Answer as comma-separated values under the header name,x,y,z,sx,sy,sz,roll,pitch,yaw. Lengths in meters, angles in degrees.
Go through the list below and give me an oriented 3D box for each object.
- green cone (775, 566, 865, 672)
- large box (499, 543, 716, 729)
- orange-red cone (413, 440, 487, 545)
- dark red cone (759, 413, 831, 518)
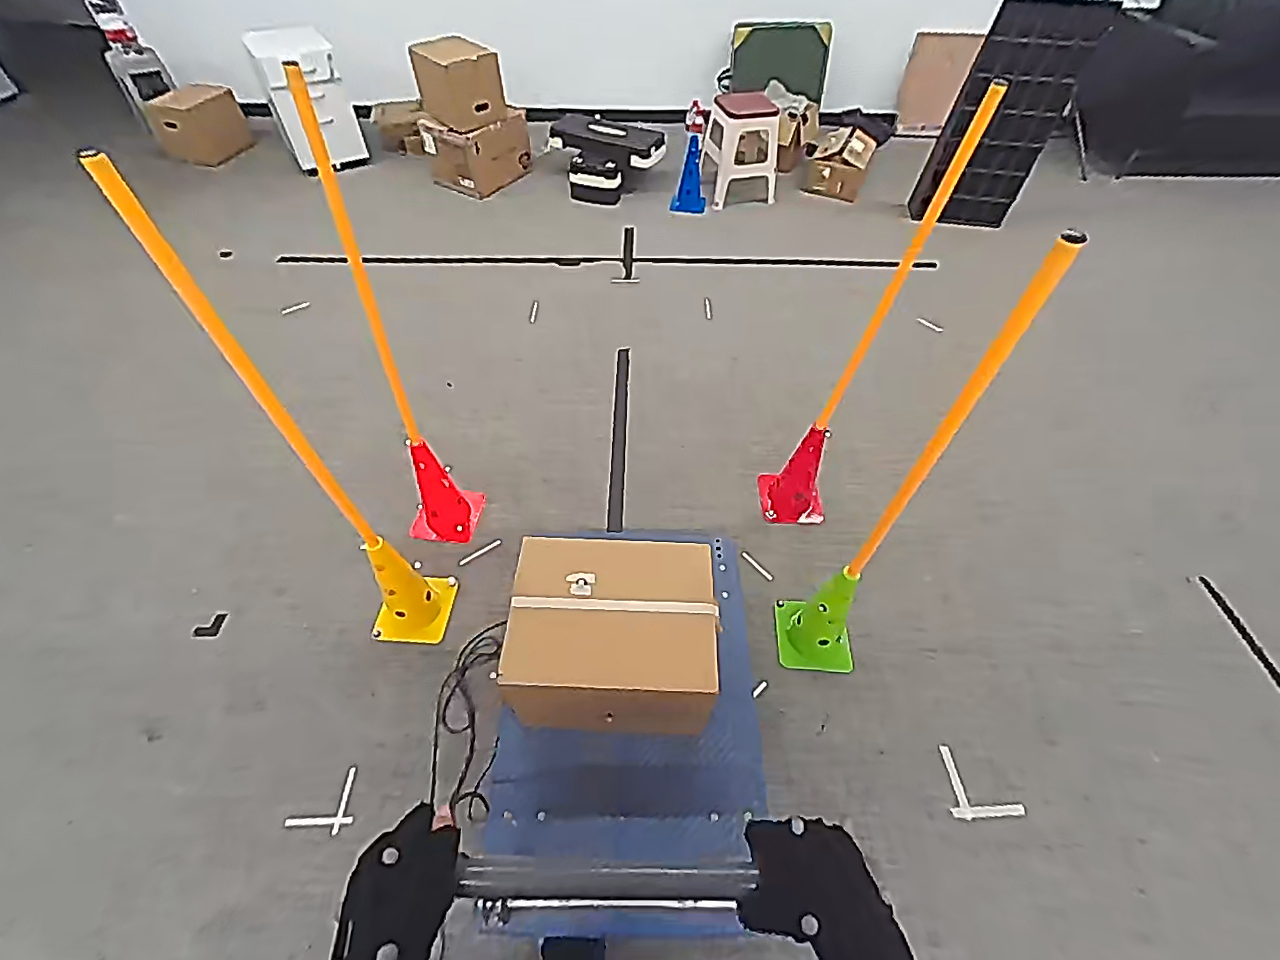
name,x,y,z,sx,sy,sz,roll,pitch,yaw
green cone,0.494,0.332,1.399,0.202,0.368,0.200,5,51,1
large box,-0.054,0.350,1.191,0.408,0.320,0.320,2,52,1
orange-red cone,-0.614,0.012,1.639,0.198,0.360,0.199,7,50,3
dark red cone,0.517,-0.056,1.690,0.201,0.394,0.202,2,51,-2
